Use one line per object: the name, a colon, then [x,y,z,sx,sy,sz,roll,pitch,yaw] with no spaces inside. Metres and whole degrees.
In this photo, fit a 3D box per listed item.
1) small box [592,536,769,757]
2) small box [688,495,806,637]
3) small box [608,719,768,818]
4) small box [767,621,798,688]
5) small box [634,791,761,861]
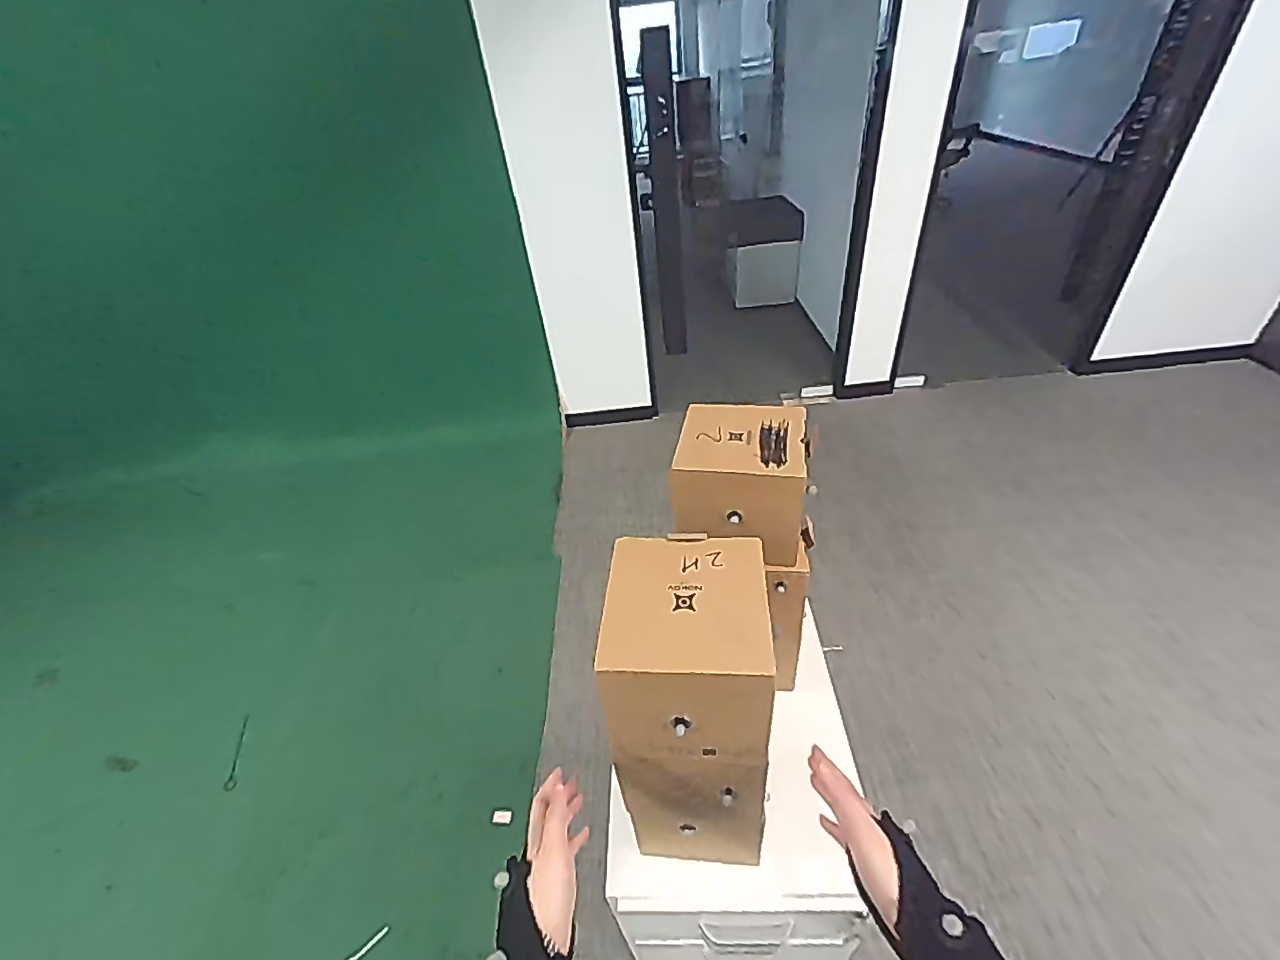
small box: [0.051,0.182,0.599,0.168,0.176,0.179,0,37,7]
small box: [0.172,0.141,0.895,0.179,0.176,0.168,1,40,9]
small box: [0.066,0.312,0.698,0.179,0.176,0.168,-1,37,9]
small box: [0.193,0.264,0.999,0.179,0.176,0.168,0,40,10]
small box: [0.085,0.437,0.801,0.179,0.176,0.168,1,39,8]
